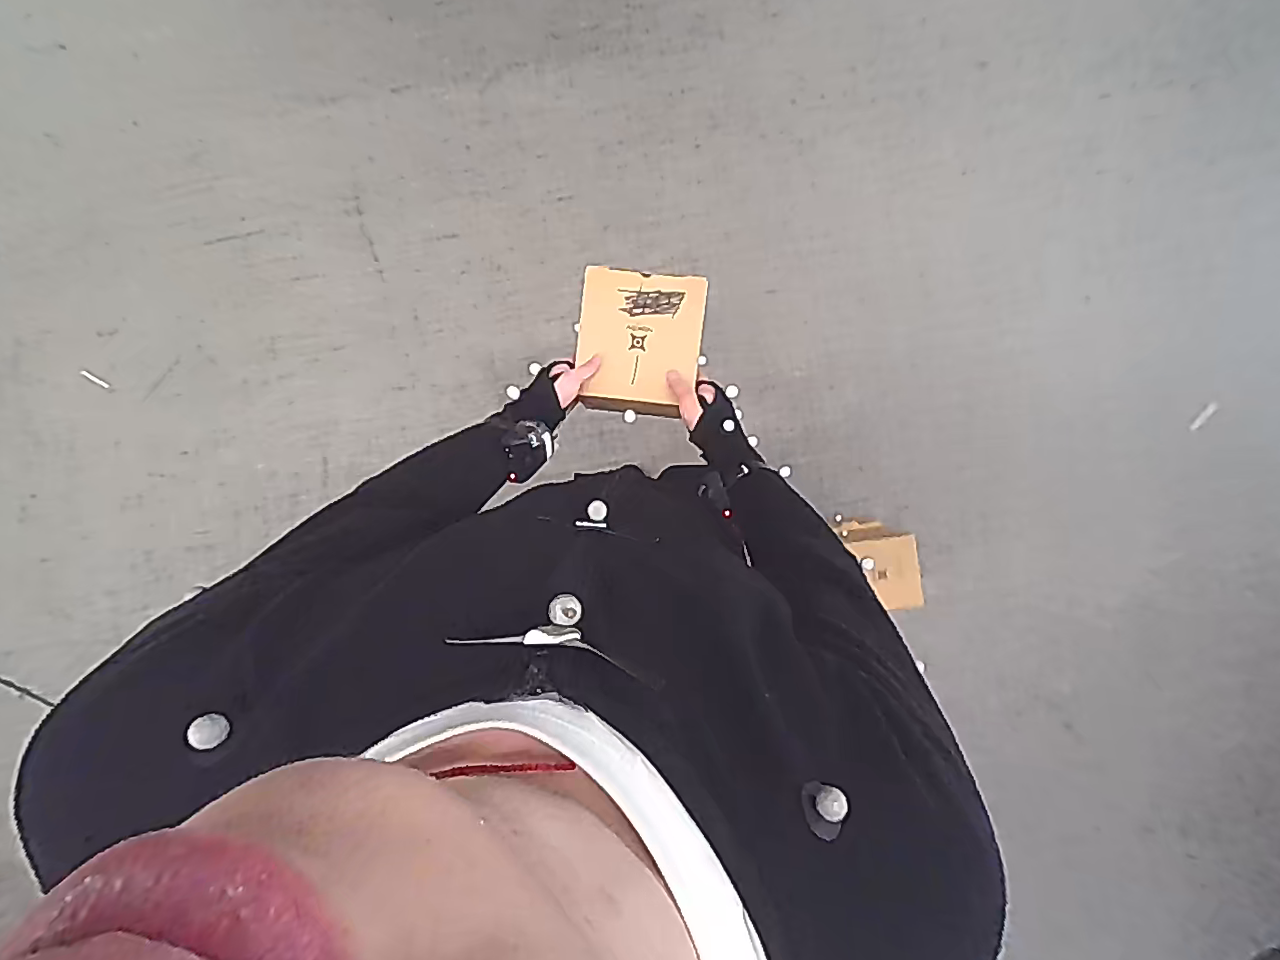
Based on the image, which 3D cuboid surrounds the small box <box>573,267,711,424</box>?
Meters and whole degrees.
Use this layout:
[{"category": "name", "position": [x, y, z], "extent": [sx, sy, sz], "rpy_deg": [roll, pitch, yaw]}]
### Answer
[{"category": "small box", "position": [0.003, -0.188, 0.803], "extent": [0.168, 0.176, 0.179], "rpy_deg": [8, 90, 1]}]

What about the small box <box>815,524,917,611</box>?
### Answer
[{"category": "small box", "position": [0.542, 0.208, 1.323], "extent": [0.179, 0.176, 0.168], "rpy_deg": [-9, 94, -1]}]

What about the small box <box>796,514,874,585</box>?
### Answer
[{"category": "small box", "position": [0.547, 0.194, 1.504], "extent": [0.168, 0.176, 0.179], "rpy_deg": [-11, 93, -1]}]
